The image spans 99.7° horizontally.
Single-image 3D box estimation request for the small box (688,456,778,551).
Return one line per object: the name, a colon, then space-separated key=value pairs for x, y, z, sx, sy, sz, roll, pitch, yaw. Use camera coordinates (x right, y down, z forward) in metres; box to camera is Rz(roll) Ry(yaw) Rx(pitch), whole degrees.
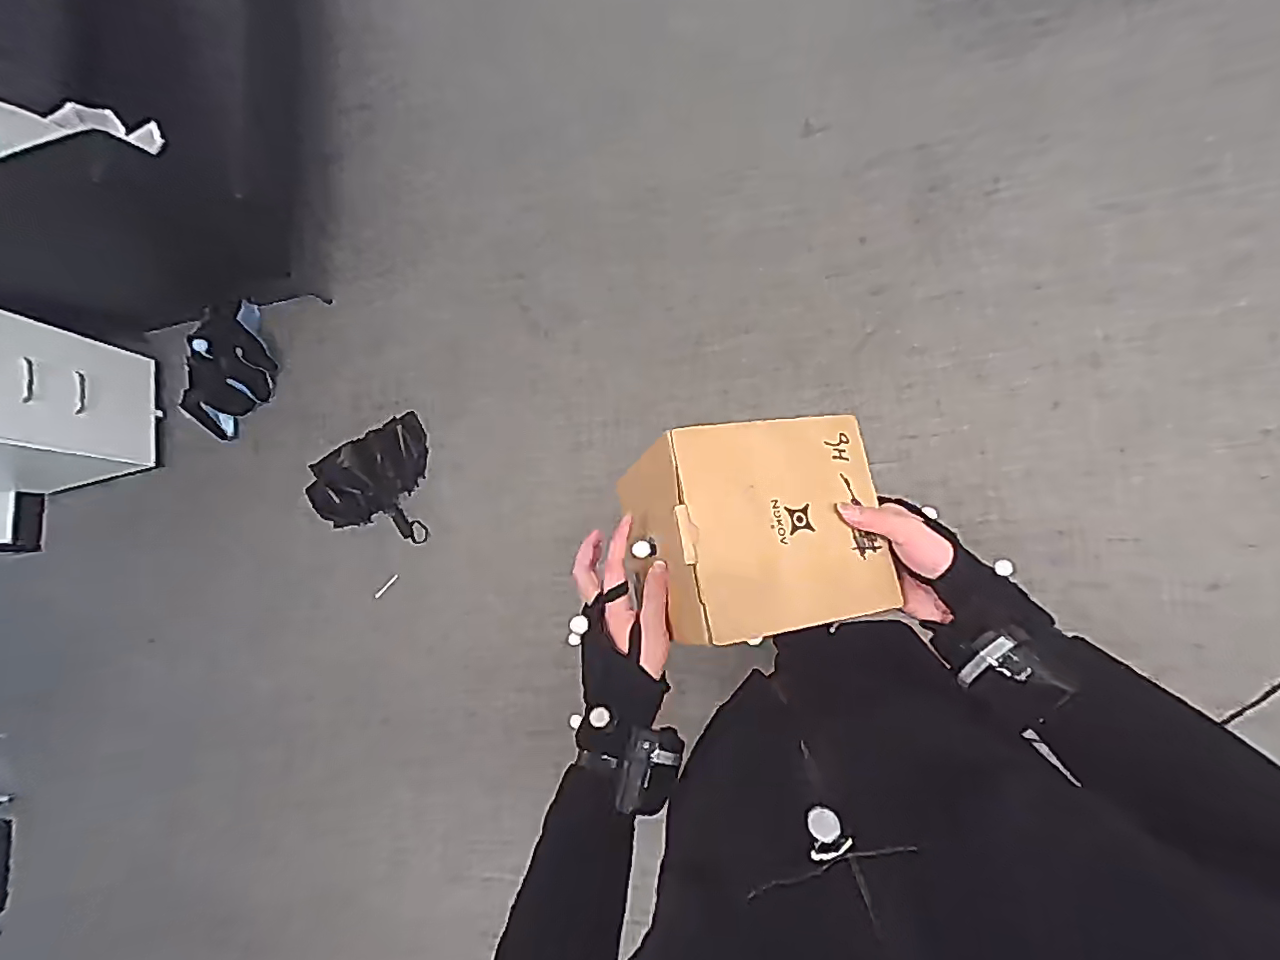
small box: x=0.211 y=0.059 z=1.207 sx=0.168 sy=0.176 sz=0.179 roll=-11 pitch=79 yaw=14
